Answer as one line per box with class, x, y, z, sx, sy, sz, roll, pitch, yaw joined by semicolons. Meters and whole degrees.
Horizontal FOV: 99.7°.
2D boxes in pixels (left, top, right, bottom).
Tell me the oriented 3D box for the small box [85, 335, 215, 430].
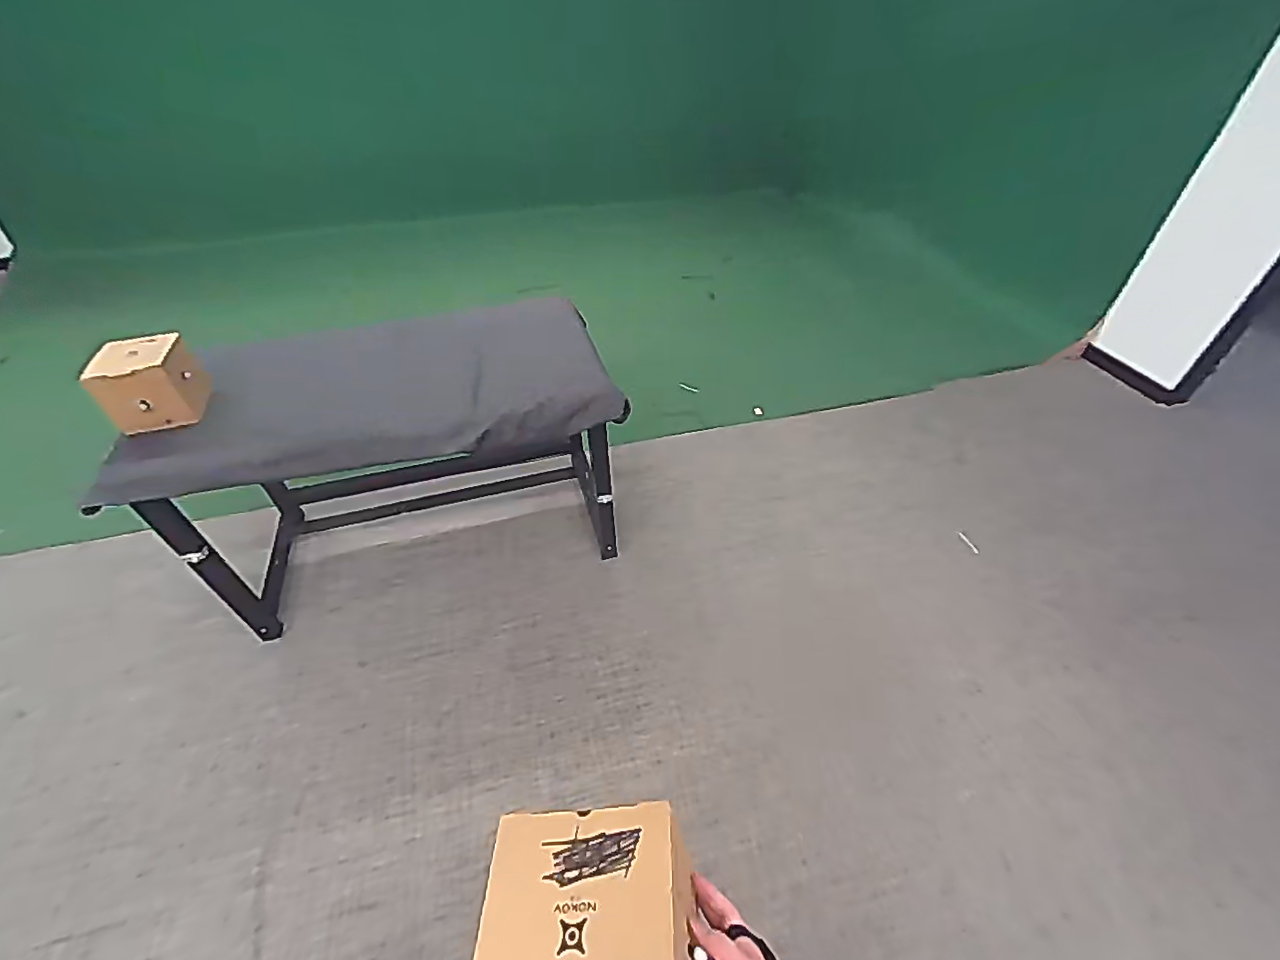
small box;-1.220;-0.240;1.365;0.168;0.176;0.179;-13;46;-14
